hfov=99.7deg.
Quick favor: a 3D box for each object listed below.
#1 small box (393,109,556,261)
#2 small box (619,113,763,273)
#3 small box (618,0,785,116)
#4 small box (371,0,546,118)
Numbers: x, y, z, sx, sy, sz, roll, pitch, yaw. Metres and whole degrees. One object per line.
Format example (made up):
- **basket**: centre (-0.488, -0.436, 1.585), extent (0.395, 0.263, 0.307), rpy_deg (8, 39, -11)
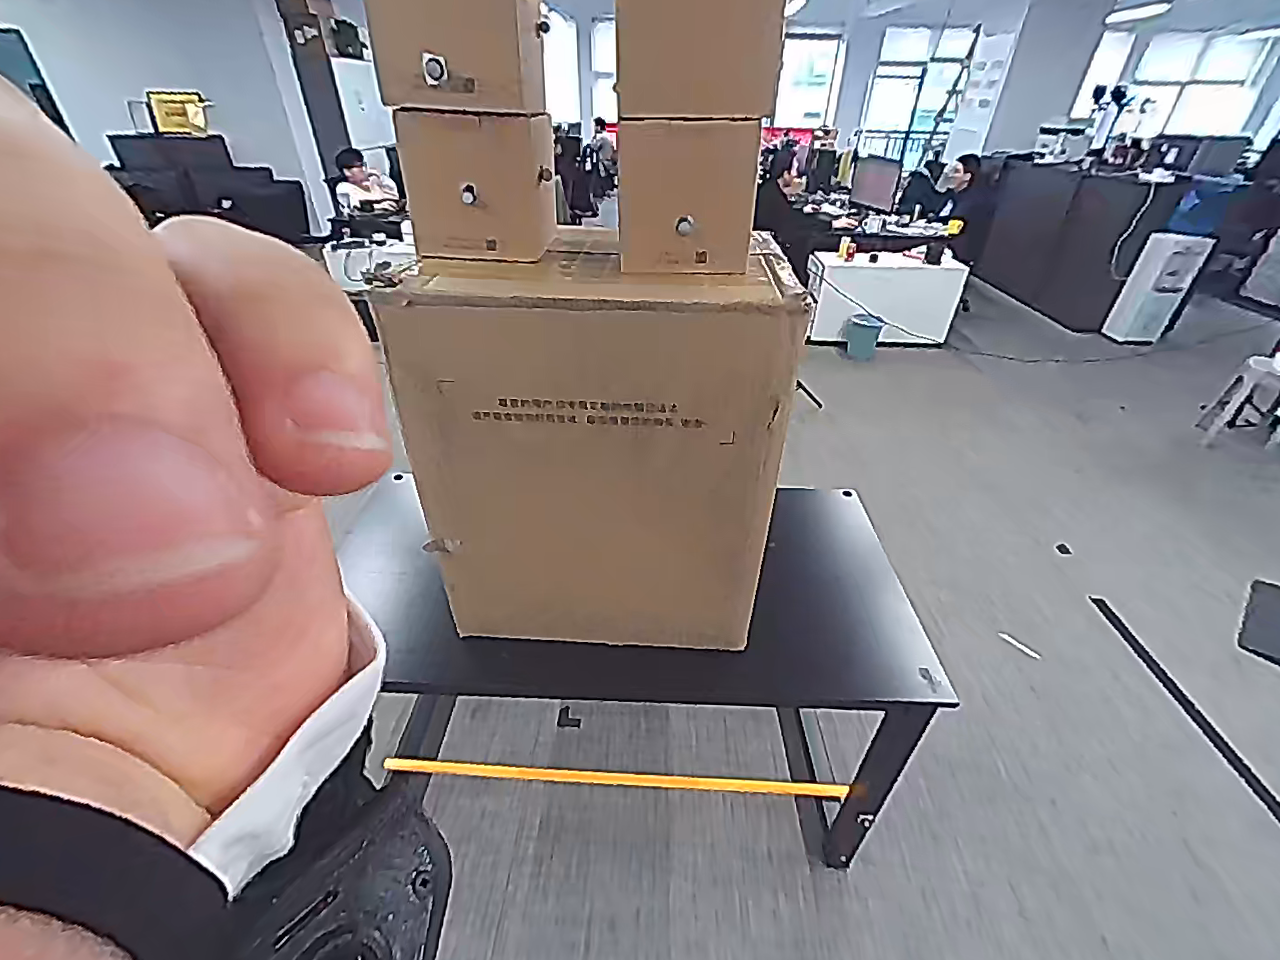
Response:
- **small box**: centre (-0.211, -0.411, 0.748), extent (0.168, 0.176, 0.179), rpy_deg (3, 35, -1)
- **small box**: centre (0.060, -0.383, 0.716), extent (0.168, 0.176, 0.179), rpy_deg (1, 35, 2)
- **small box**: centre (0.065, -0.515, 0.616), extent (0.179, 0.176, 0.168), rpy_deg (2, 35, 1)
- **small box**: centre (-0.207, -0.537, 0.643), extent (0.168, 0.176, 0.179), rpy_deg (1, 35, 0)
